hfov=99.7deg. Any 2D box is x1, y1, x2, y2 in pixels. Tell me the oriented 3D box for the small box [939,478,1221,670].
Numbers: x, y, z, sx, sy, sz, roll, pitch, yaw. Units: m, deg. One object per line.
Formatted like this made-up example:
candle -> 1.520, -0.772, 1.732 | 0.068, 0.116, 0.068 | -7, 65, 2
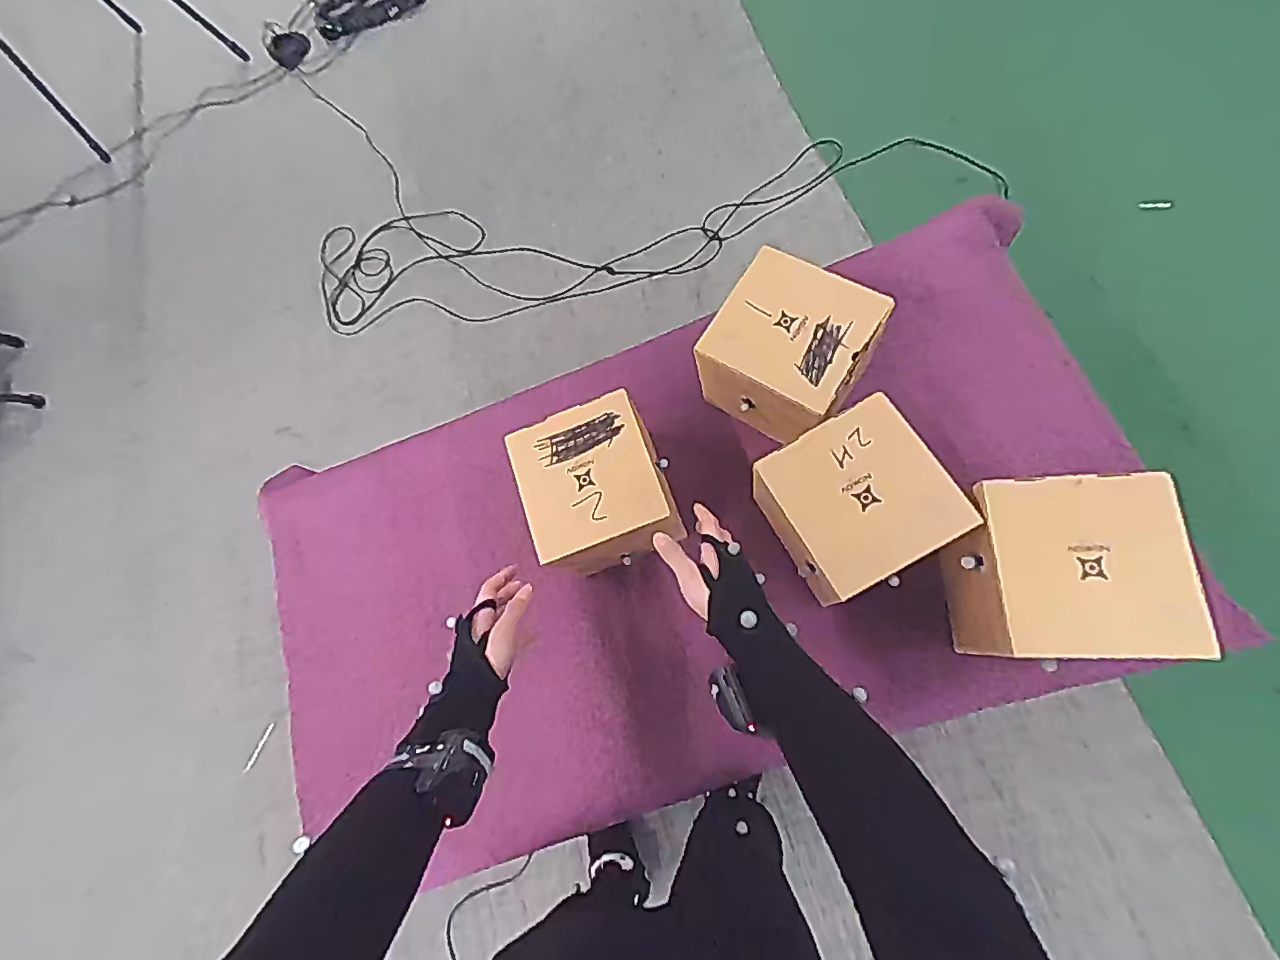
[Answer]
small box -> 0.444, 0.107, 0.583 | 0.168, 0.176, 0.179 | -3, 72, 12
